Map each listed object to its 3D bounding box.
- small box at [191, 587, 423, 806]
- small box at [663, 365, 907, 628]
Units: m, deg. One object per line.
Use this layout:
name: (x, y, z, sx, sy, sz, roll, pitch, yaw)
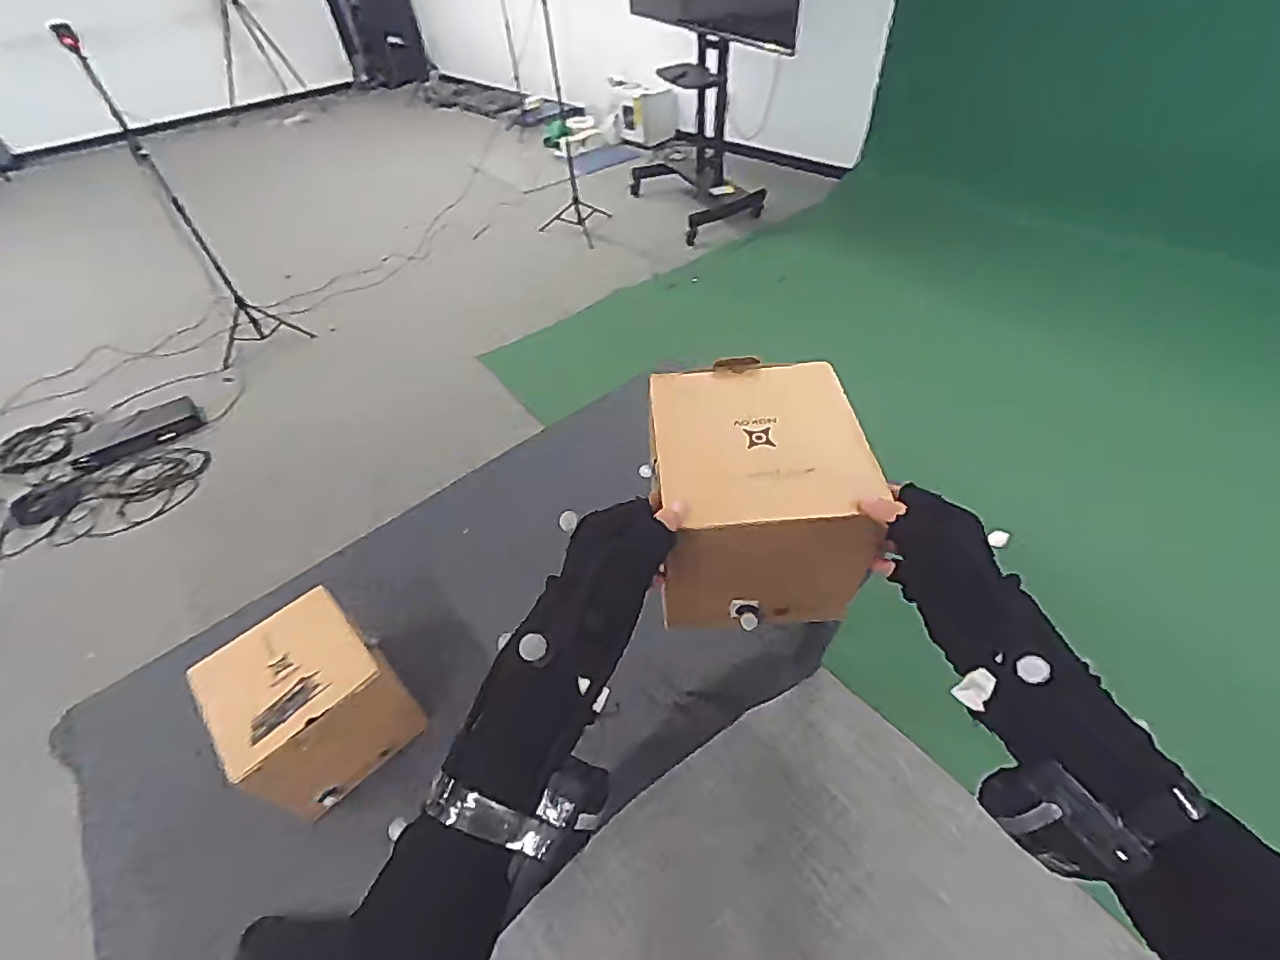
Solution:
small box: (-0.410, 0.278, 0.688, 0.168, 0.176, 0.179, -37, 53, -27)
small box: (0.108, 0.017, 0.498, 0.168, 0.176, 0.179, -4, 50, 0)
